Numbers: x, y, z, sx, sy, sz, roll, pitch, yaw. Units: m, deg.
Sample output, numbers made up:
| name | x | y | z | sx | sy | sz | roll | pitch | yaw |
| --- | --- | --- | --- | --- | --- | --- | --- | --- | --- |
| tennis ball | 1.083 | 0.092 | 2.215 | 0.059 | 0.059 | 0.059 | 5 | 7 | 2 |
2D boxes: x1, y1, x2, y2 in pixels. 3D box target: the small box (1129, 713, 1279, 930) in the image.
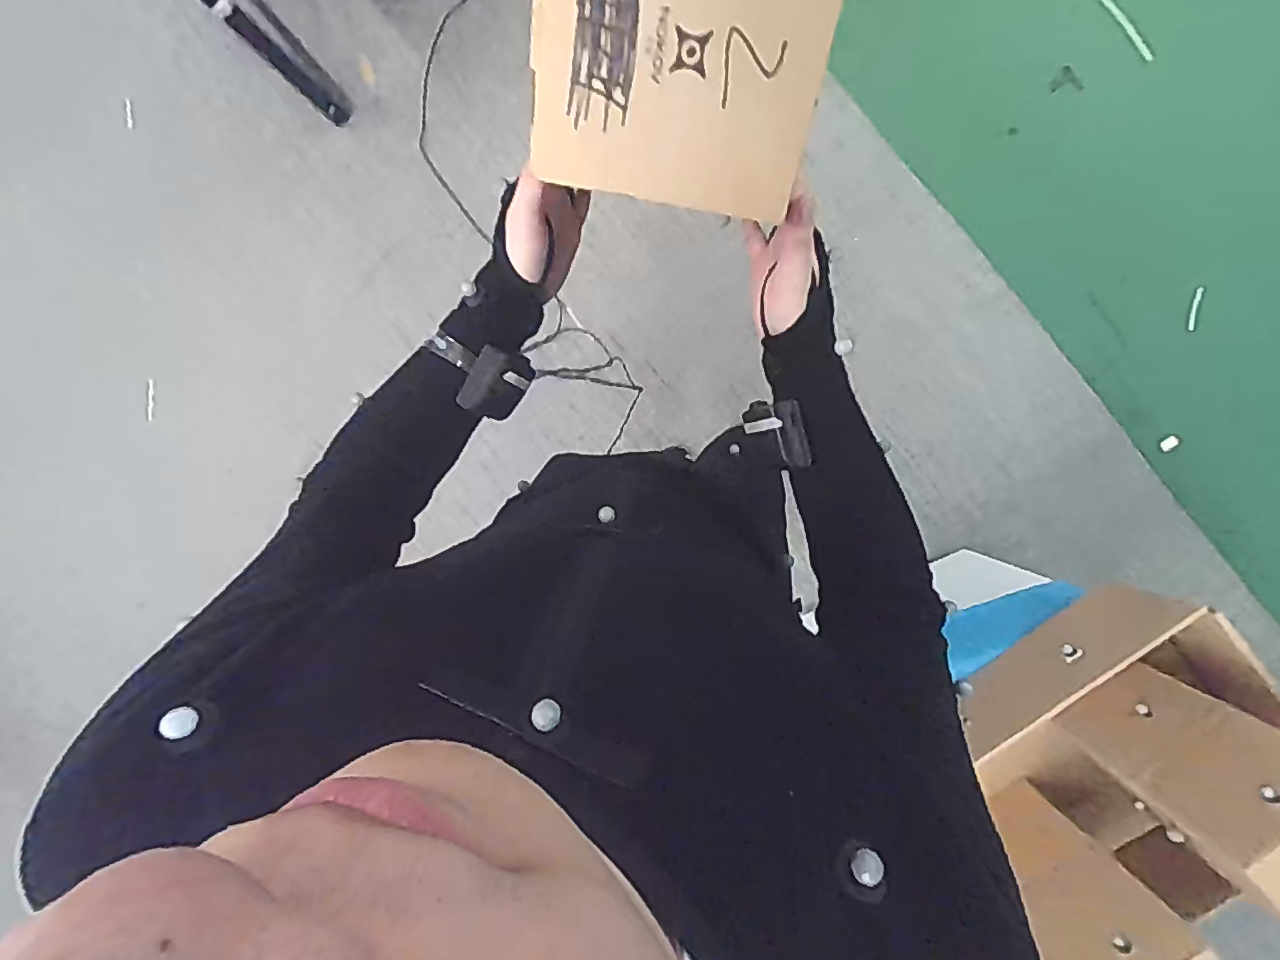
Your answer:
| name | x | y | z | sx | sy | sz | roll | pitch | yaw |
| --- | --- | --- | --- | --- | --- | --- | --- | --- | --- |
| small box | 0.811 | 0.444 | 0.699 | 0.179 | 0.176 | 0.168 | -43 | 91 | 7 |

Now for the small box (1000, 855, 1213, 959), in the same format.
| name | x | y | z | sx | sy | sz | roll | pitch | yaw |
| --- | --- | --- | --- | --- | --- | --- | --- | --- | --- |
| small box | 0.640 | 0.658 | 0.722 | 0.179 | 0.176 | 0.168 | -34 | 91 | 5 |
